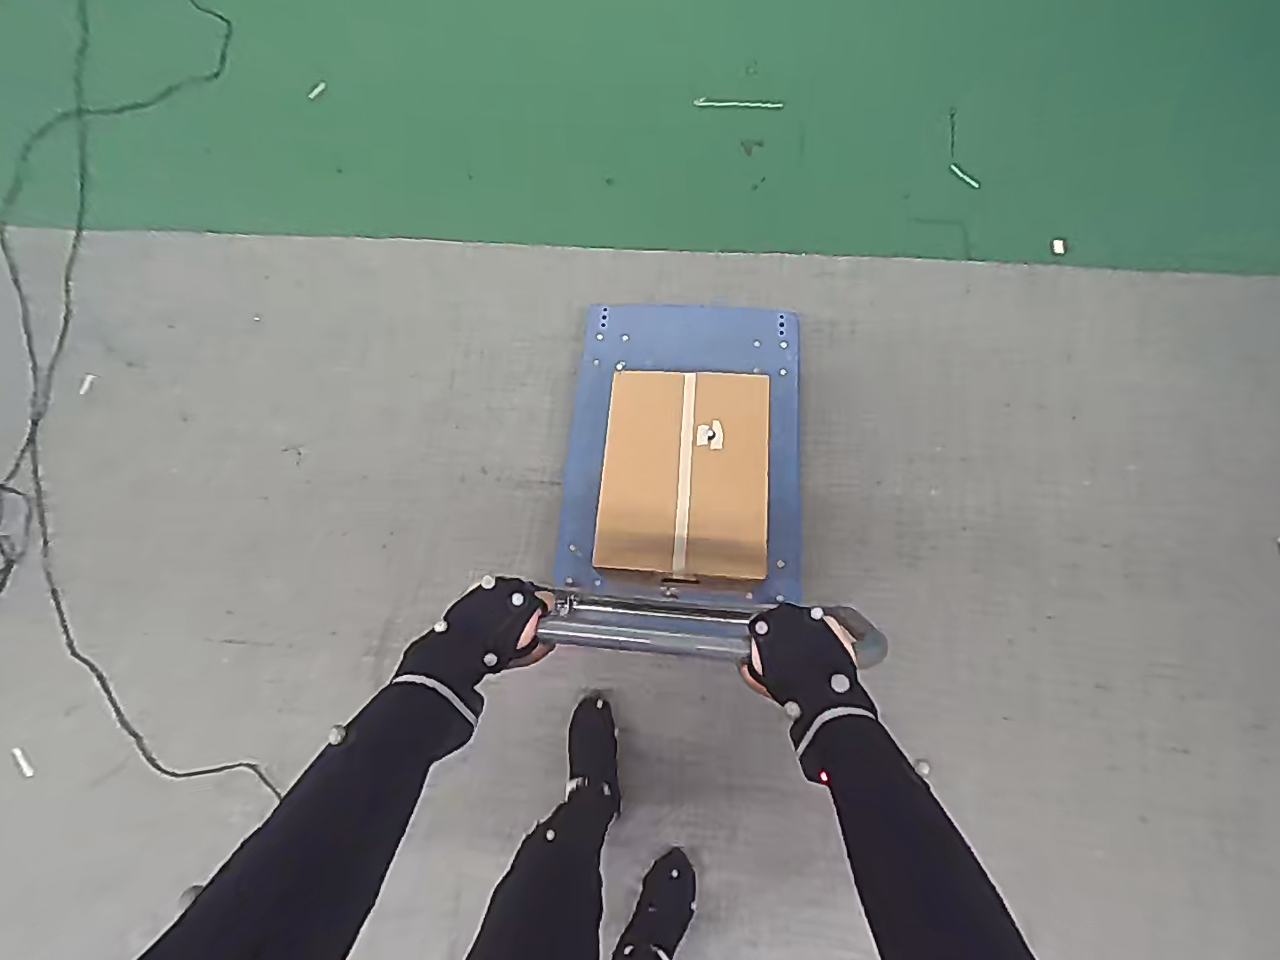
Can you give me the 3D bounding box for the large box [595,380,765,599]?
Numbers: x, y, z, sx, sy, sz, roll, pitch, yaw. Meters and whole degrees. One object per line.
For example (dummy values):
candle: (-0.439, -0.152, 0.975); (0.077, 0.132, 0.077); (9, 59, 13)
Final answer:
large box: (0.096, 0.035, 1.181); (0.320, 0.320, 0.408); (4, 71, 6)
